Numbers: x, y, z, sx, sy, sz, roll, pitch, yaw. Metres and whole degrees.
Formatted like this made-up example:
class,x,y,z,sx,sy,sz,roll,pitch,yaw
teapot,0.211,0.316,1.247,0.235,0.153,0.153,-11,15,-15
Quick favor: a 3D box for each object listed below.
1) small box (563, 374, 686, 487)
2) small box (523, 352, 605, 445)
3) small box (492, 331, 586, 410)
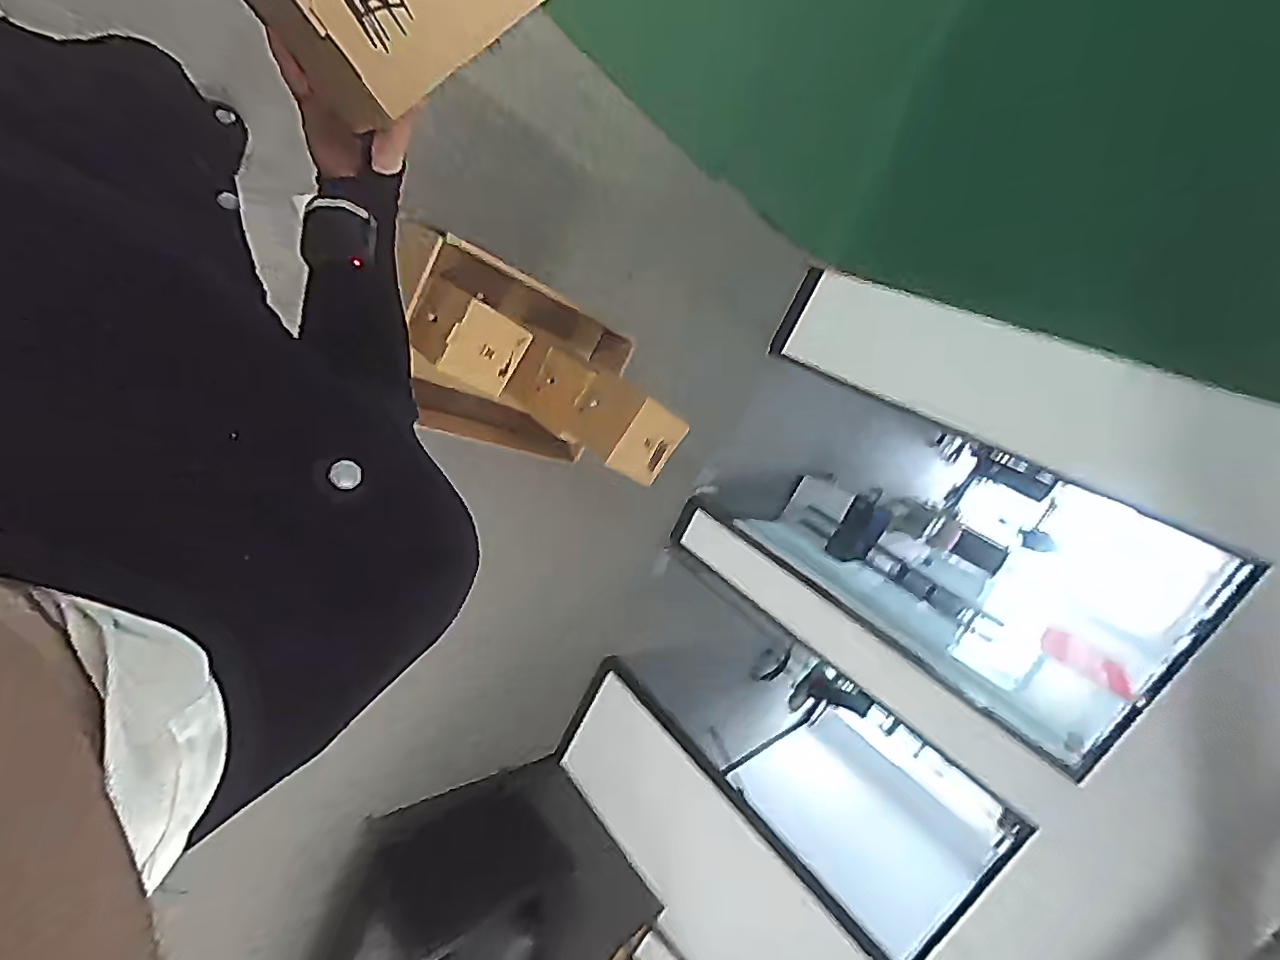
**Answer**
class,x,y,z,sx,sy,sz,roll,pitch,yaw
small box,-0.036,-0.113,1.204,0.168,0.176,0.179,-56,142,5
small box,-0.145,-0.189,1.300,0.179,0.176,0.168,13,109,-50
small box,-0.247,-0.266,1.399,0.179,0.176,0.168,14,108,-50
